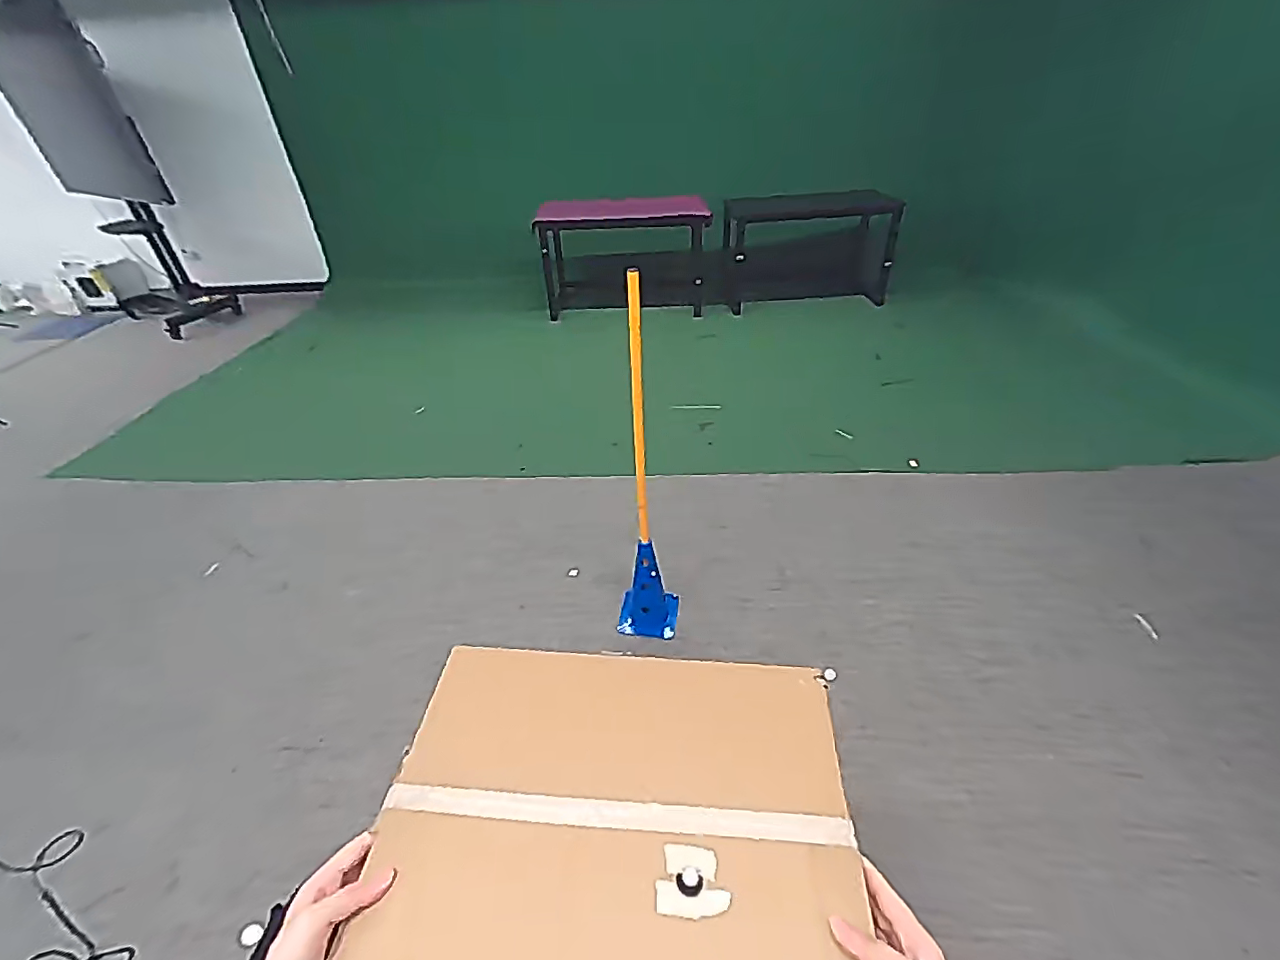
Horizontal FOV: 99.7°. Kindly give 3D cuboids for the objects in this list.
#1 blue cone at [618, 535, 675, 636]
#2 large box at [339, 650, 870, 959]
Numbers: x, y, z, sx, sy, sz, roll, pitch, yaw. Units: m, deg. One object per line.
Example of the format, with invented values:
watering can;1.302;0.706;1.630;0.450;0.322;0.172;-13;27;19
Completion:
blue cone;0.018;0.343;1.840;0.193;0.380;0.192;5;36;10
large box;-0.021;0.410;0.573;0.408;0.320;0.320;3;40;4
